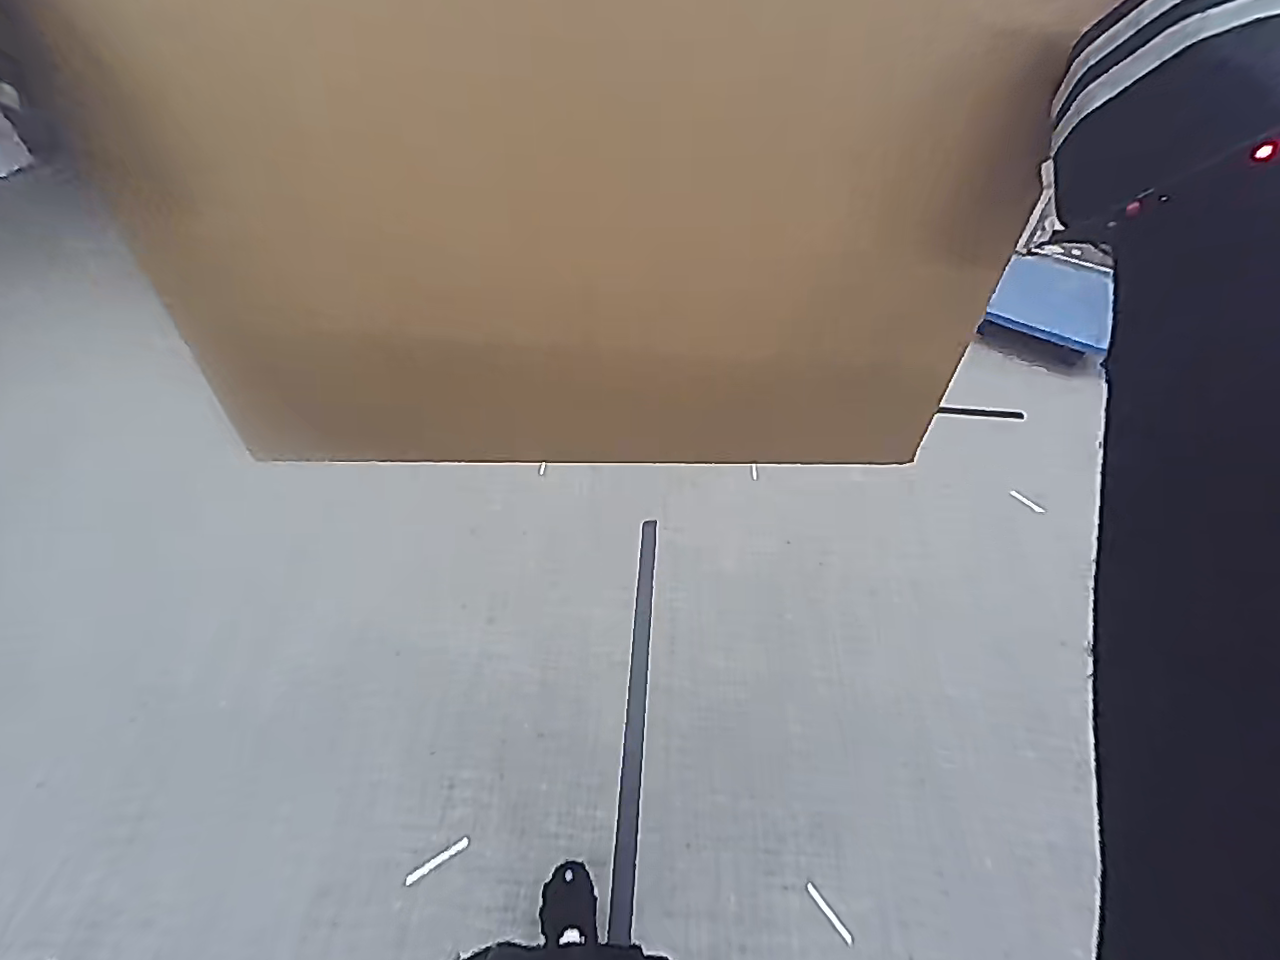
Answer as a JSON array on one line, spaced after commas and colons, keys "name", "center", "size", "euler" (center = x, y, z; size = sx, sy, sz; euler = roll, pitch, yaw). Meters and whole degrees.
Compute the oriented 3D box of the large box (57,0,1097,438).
[{"name": "large box", "center": [-0.028, -0.237, 0.351], "size": [0.408, 0.320, 0.320], "euler": [1, 43, -3]}]
